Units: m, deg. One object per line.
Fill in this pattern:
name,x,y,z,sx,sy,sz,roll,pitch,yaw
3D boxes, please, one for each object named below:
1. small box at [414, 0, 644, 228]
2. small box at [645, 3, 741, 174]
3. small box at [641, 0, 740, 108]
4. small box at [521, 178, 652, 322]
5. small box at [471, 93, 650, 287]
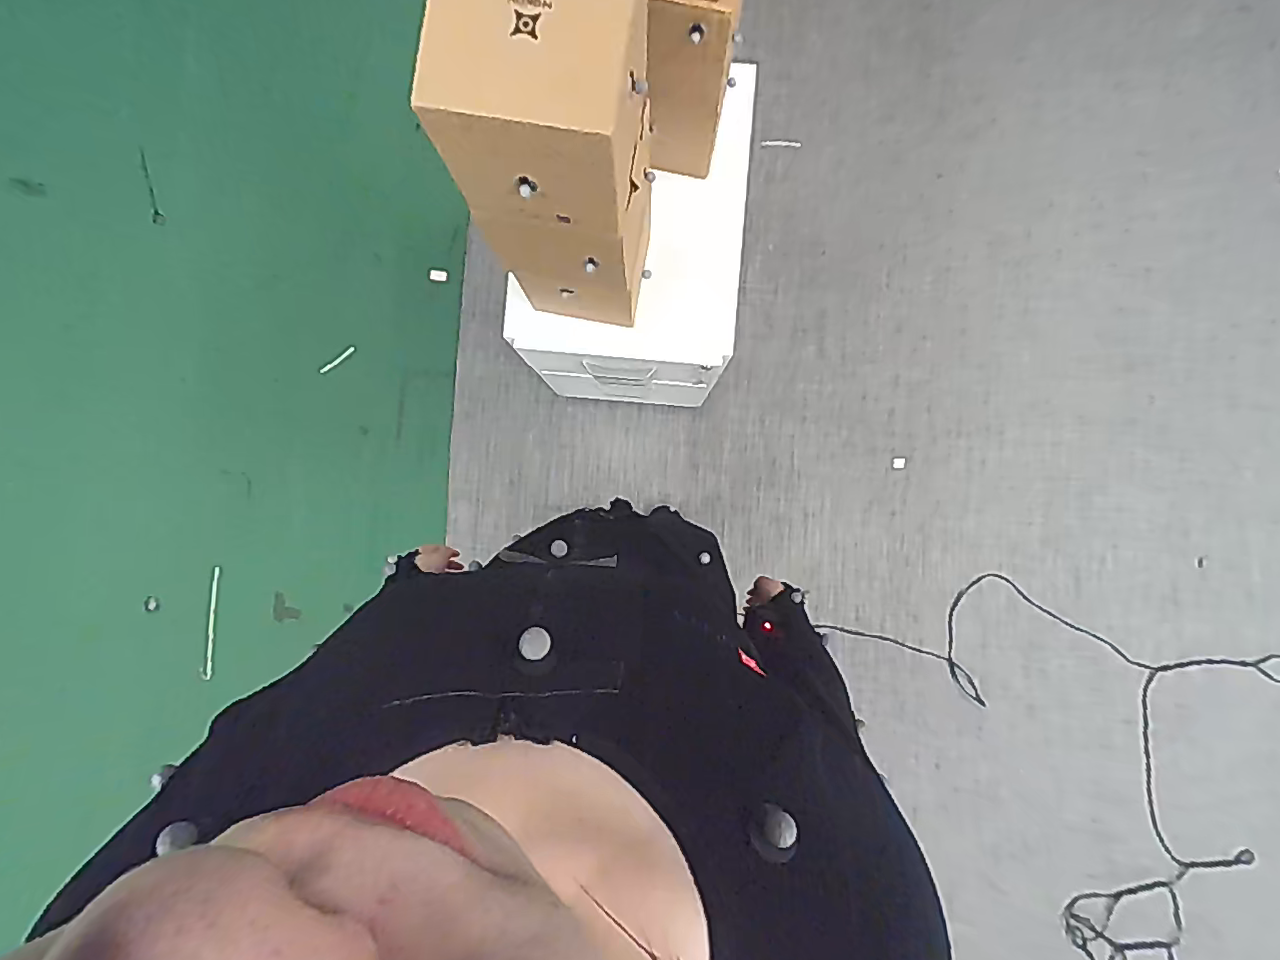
small box,-0.088,-0.370,0.515,0.168,0.176,0.179,10,87,-1
small box,0.044,-0.614,0.846,0.179,0.176,0.168,12,90,1
small box,0.036,-0.614,0.683,0.179,0.176,0.168,12,89,0
small box,-0.083,-0.360,0.841,0.179,0.176,0.168,11,88,0
small box,-0.088,-0.362,0.679,0.179,0.176,0.168,10,87,1
